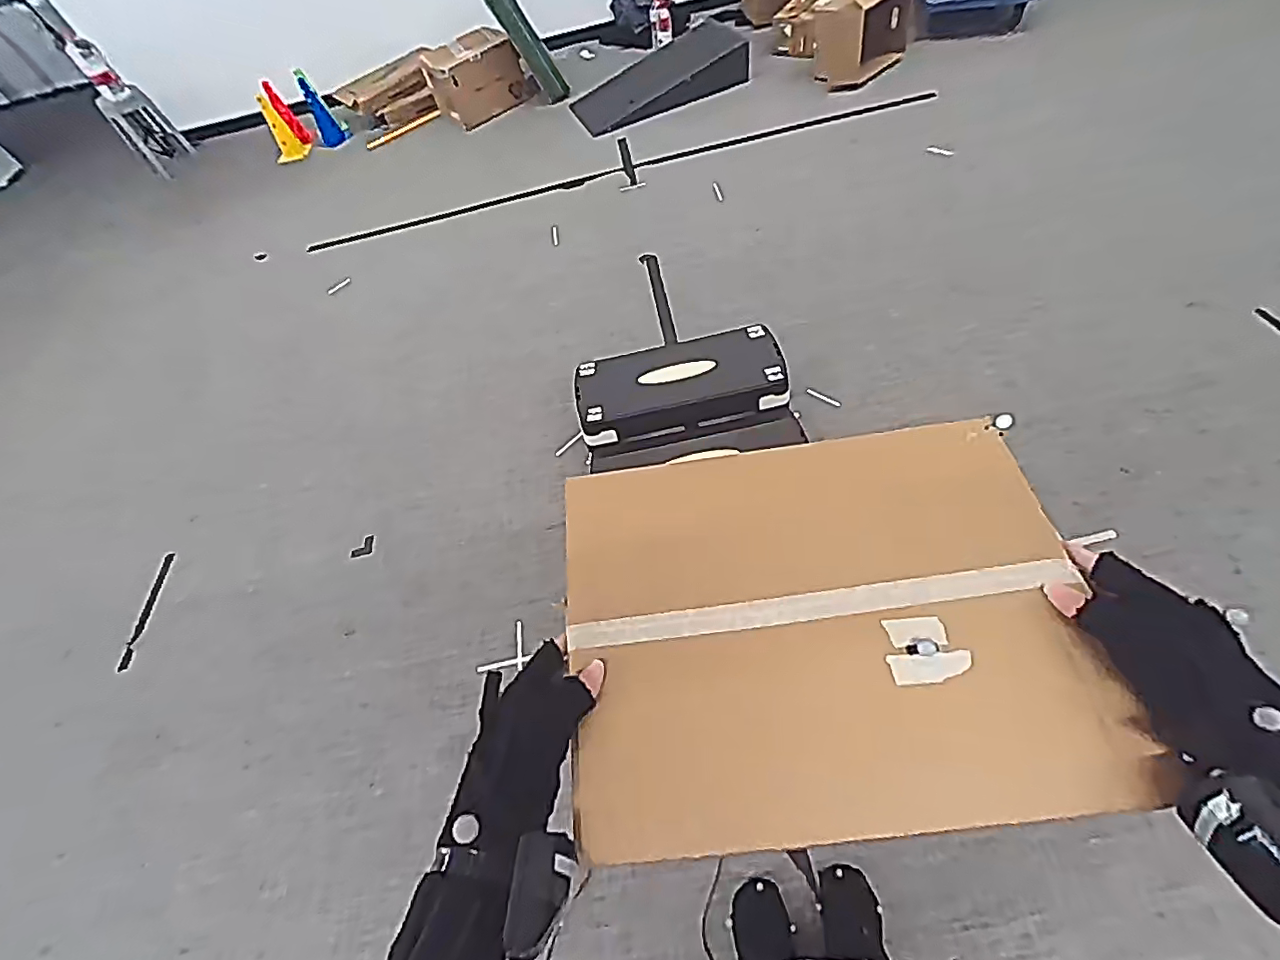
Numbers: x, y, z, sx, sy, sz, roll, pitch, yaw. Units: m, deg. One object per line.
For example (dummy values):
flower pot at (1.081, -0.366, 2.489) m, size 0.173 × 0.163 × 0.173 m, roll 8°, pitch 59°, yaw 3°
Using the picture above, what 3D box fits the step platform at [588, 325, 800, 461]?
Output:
step platform at (0.171, -0.291, 1.791) m, size 0.684 × 0.204 × 0.286 m, roll -13°, pitch 55°, yaw 2°

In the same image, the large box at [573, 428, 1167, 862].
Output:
large box at (0.161, 0.185, 0.573) m, size 0.408 × 0.320 × 0.320 m, roll -8°, pitch 58°, yaw 3°
